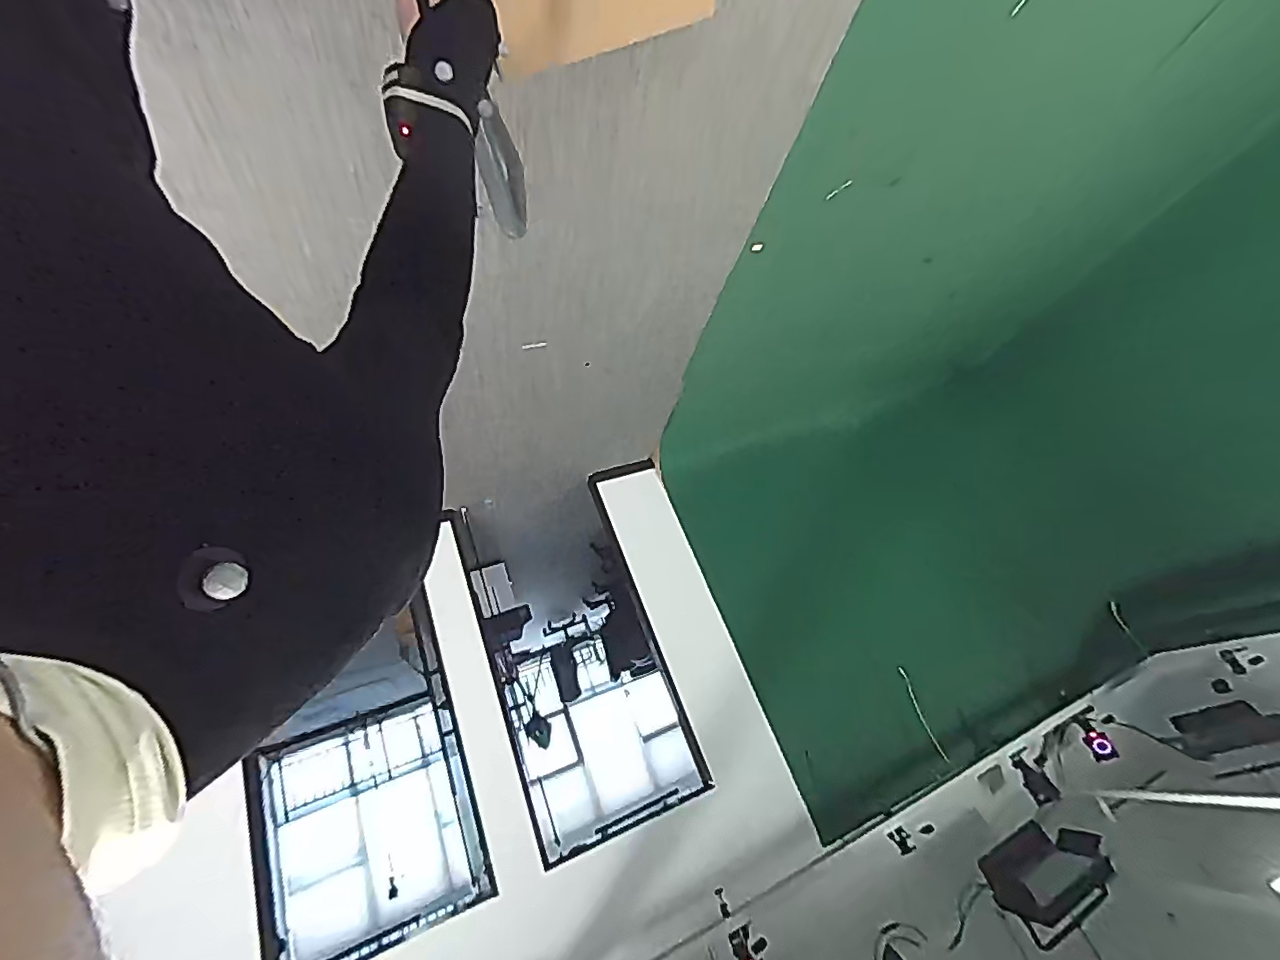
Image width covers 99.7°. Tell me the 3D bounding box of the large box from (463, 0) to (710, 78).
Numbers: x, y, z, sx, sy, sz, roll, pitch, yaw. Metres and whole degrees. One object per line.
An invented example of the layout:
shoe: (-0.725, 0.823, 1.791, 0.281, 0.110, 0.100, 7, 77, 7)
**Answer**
large box: (-0.127, -0.946, 0.860, 0.408, 0.320, 0.320, -22, 159, -5)
